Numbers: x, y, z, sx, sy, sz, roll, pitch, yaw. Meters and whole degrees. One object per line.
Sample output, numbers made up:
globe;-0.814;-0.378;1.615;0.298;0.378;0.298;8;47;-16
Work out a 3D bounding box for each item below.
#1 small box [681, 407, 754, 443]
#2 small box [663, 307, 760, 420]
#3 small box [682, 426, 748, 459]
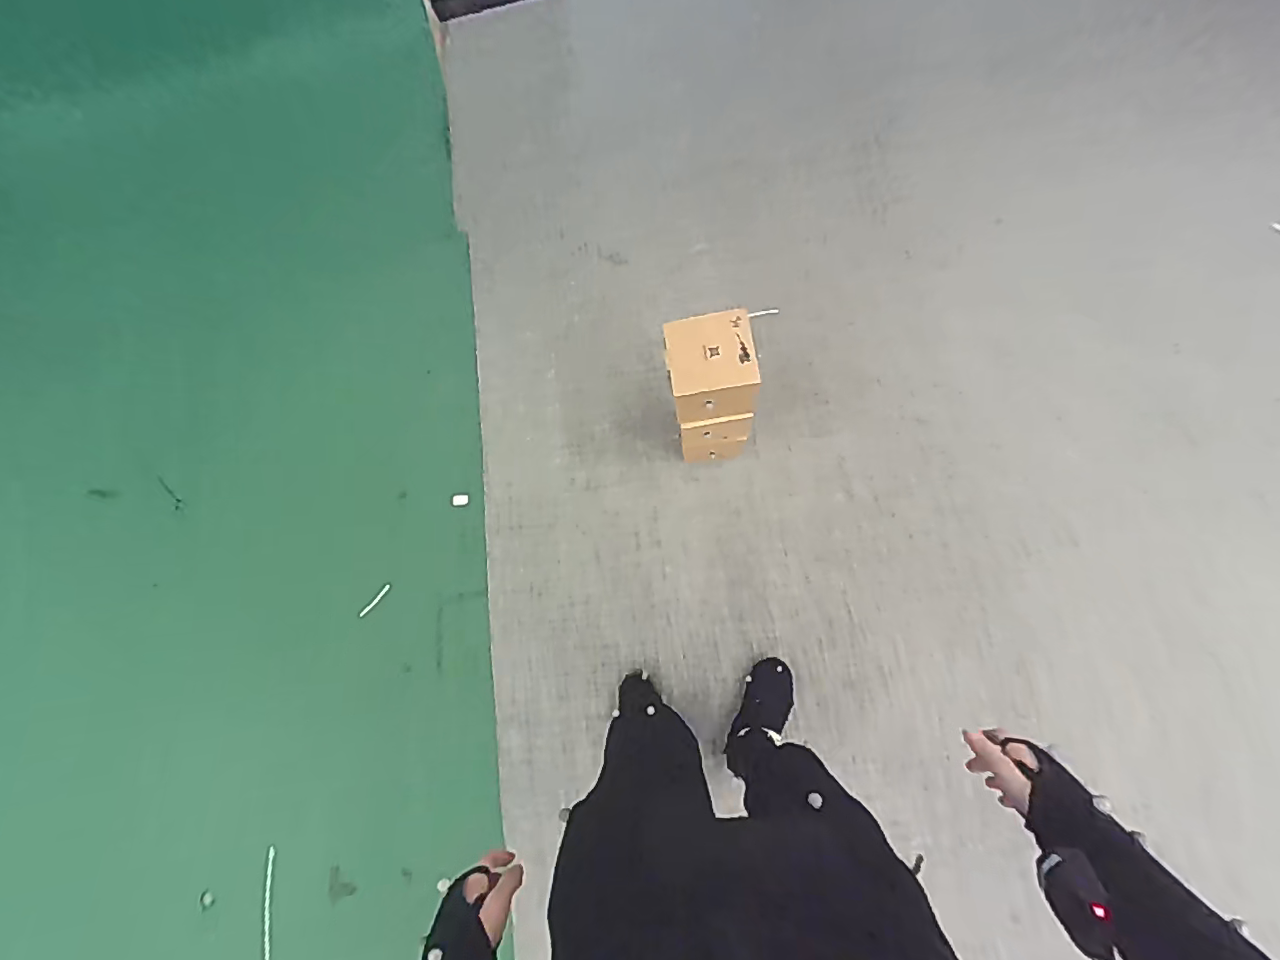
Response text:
small box;0.178;-0.197;1.309;0.168;0.176;0.179;-10;76;6
small box;0.154;-0.239;1.152;0.179;0.176;0.168;-9;76;7
small box;0.198;-0.162;1.466;0.168;0.176;0.179;-7;76;6
